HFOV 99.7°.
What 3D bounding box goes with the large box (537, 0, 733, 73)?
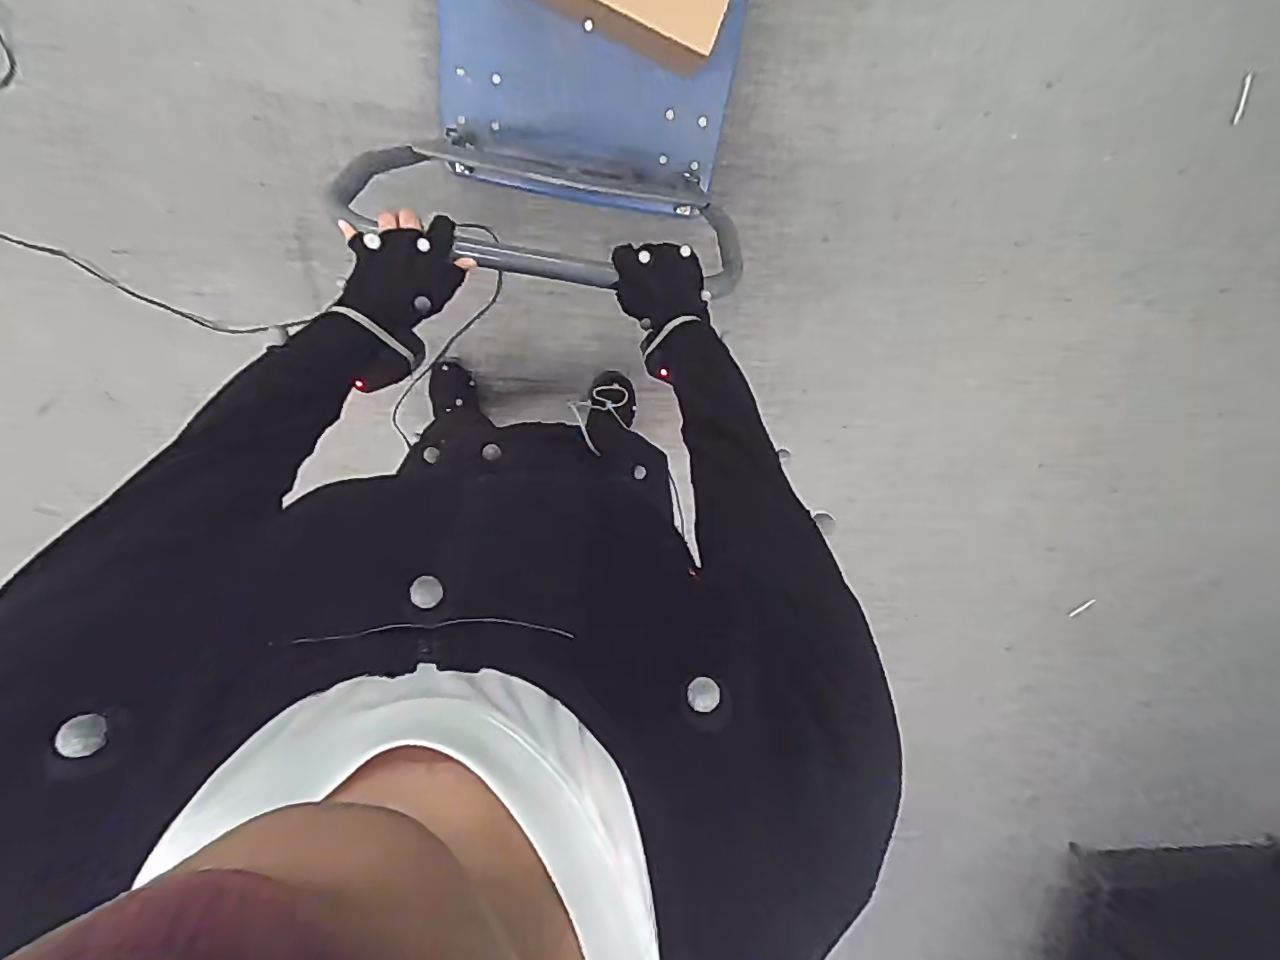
[{"bbox_3d":[-0.022,-0.904,0.841,0.408,0.320,0.320,18,119,-12],"label":"large box"}]
